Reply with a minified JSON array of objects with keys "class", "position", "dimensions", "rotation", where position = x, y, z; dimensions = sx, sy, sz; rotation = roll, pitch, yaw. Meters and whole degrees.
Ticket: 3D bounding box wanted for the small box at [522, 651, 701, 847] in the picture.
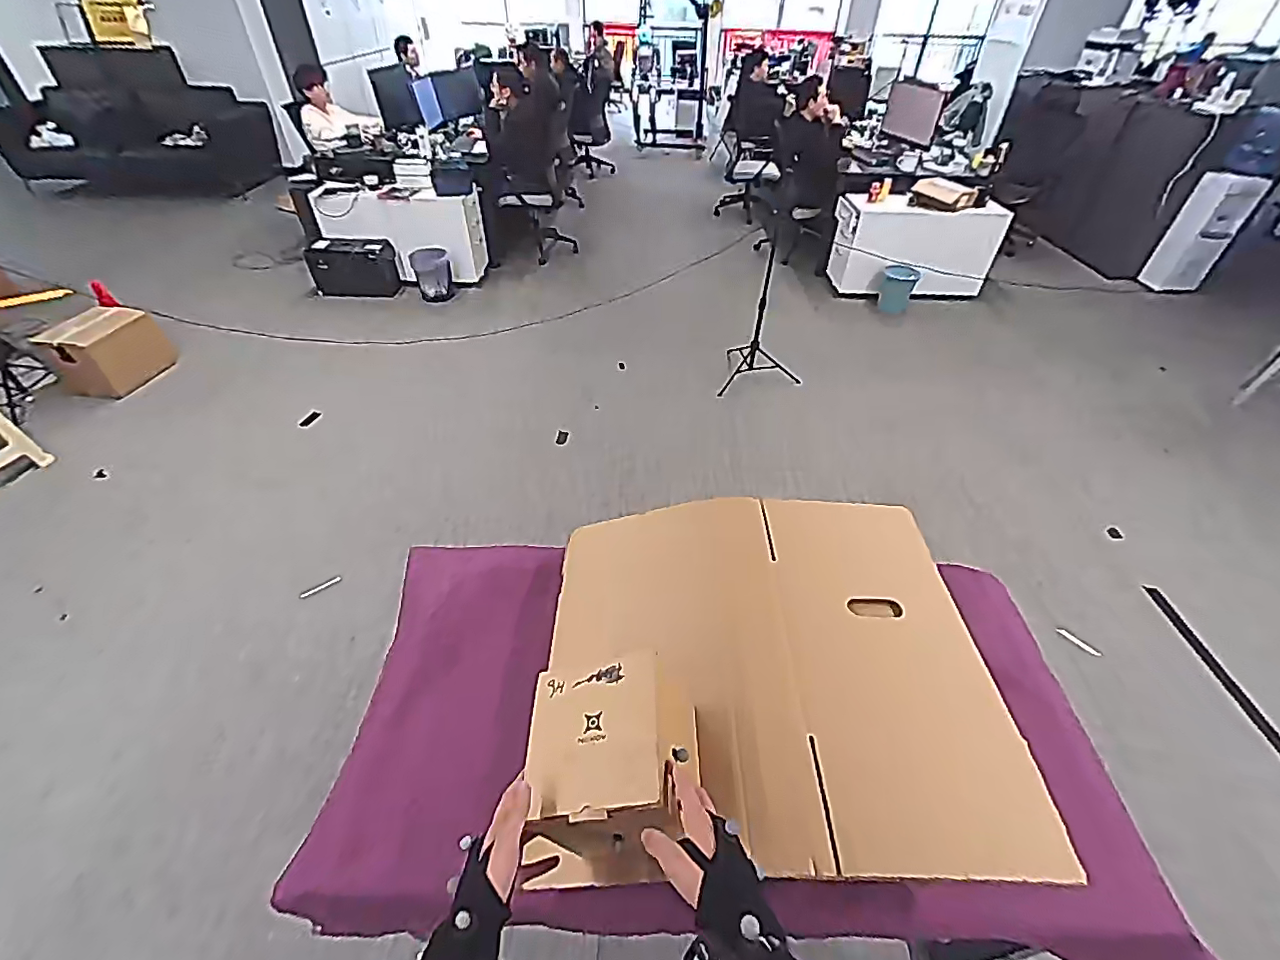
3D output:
[{"class":"small box","position":[-0.026,0.347,0.685],"dimensions":[0.168,0.176,0.179],"rotation":[-15,42,14]}]
